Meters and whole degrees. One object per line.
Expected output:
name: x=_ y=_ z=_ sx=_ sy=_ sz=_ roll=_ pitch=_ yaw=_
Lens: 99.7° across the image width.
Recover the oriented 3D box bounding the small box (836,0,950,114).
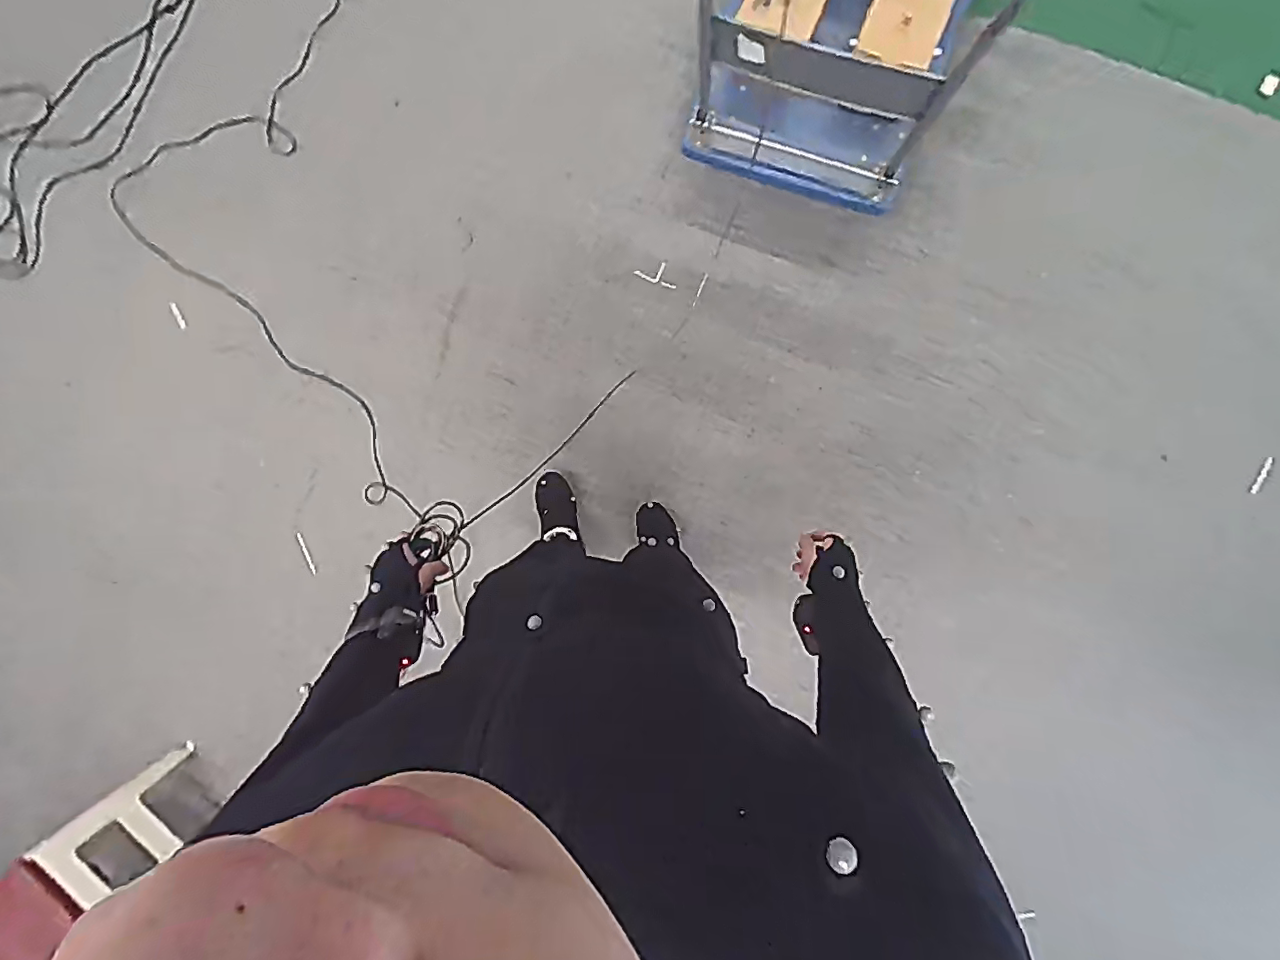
small box: x=0.585 y=-1.018 z=1.274 sx=0.168 sy=0.176 sz=0.179 roll=21 pitch=95 yaw=4
